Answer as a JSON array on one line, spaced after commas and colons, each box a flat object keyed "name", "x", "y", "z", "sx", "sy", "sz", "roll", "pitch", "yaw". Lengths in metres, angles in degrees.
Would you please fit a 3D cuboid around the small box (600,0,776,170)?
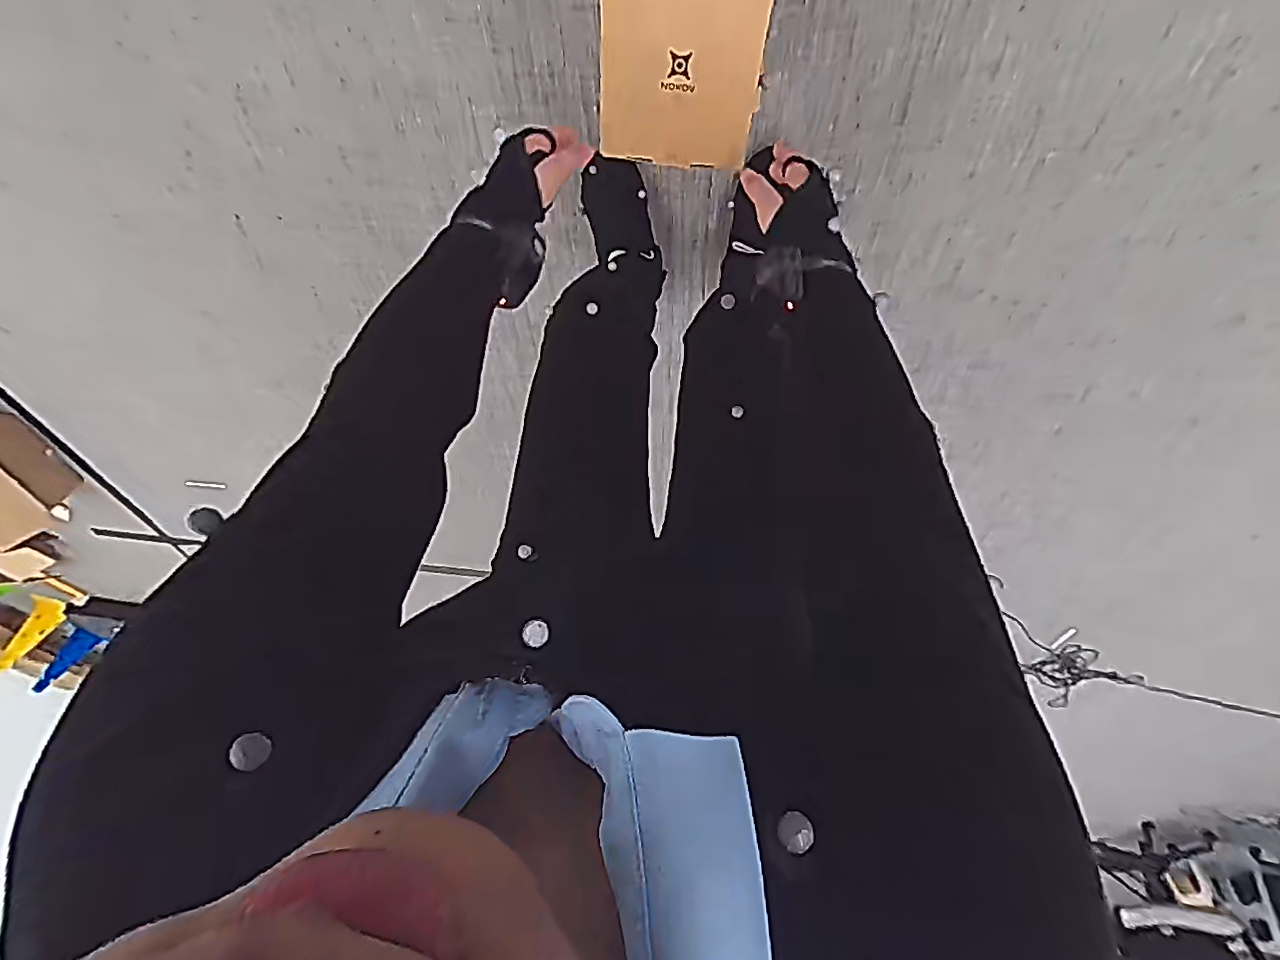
[{"name": "small box", "x": 0.051, "y": -0.474, "z": 0.599, "sx": 0.168, "sy": 0.176, "sz": 0.179, "roll": 8, "pitch": 139, "yaw": 3}]
